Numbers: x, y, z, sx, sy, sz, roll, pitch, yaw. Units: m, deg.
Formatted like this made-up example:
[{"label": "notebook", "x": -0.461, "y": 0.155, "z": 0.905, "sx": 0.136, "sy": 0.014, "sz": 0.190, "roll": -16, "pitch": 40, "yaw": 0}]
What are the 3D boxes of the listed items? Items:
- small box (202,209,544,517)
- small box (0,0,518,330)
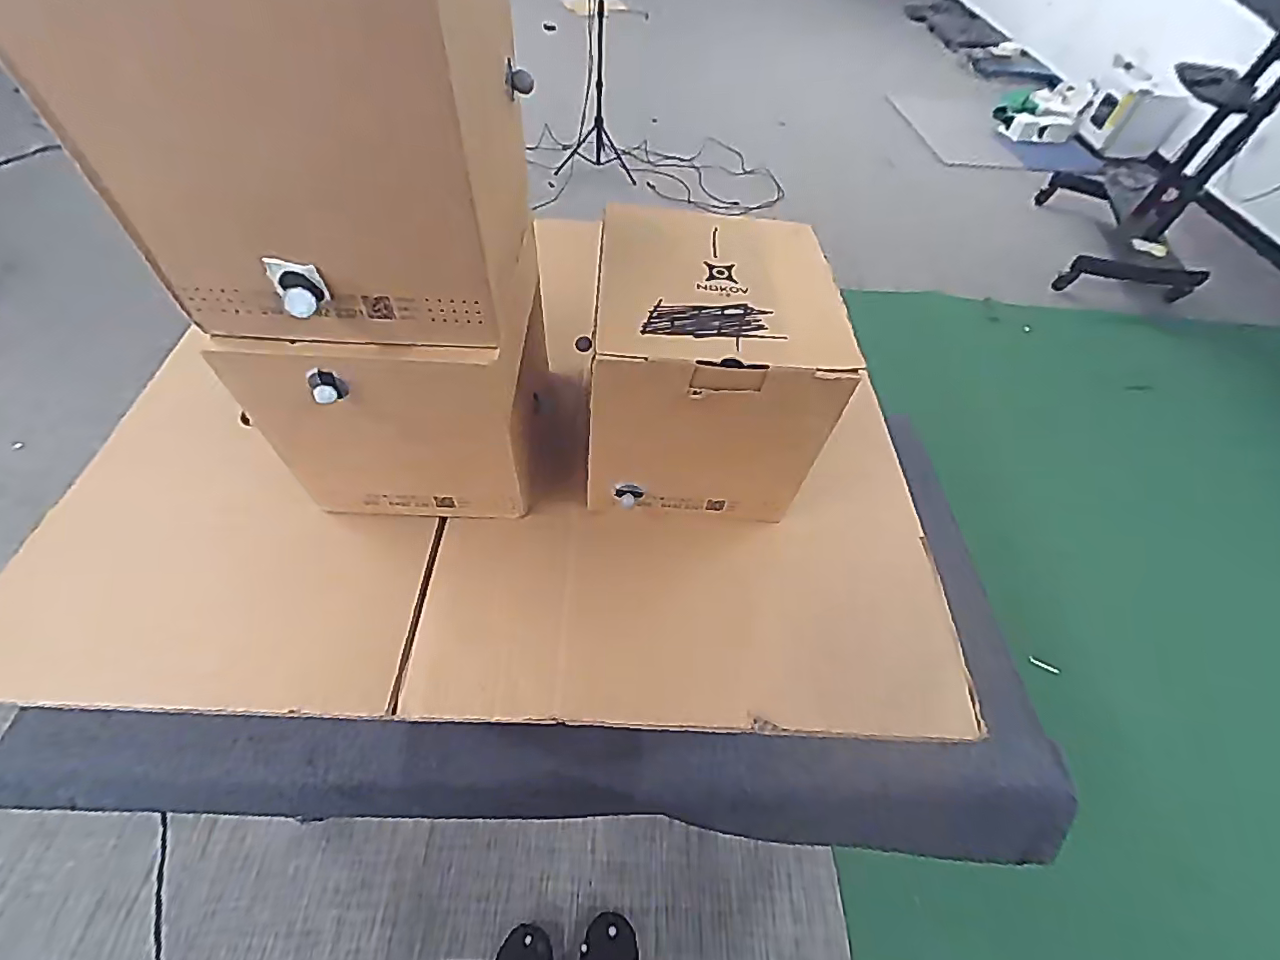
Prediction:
[{"label": "small box", "x": -0.170, "y": -0.091, "z": 0.420, "sx": 0.168, "sy": 0.176, "sz": 0.179, "roll": 2, "pitch": 53, "yaw": -2}, {"label": "small box", "x": -0.161, "y": -0.203, "z": 0.282, "sx": 0.168, "sy": 0.176, "sz": 0.179, "roll": 0, "pitch": 56, "yaw": -4}]
